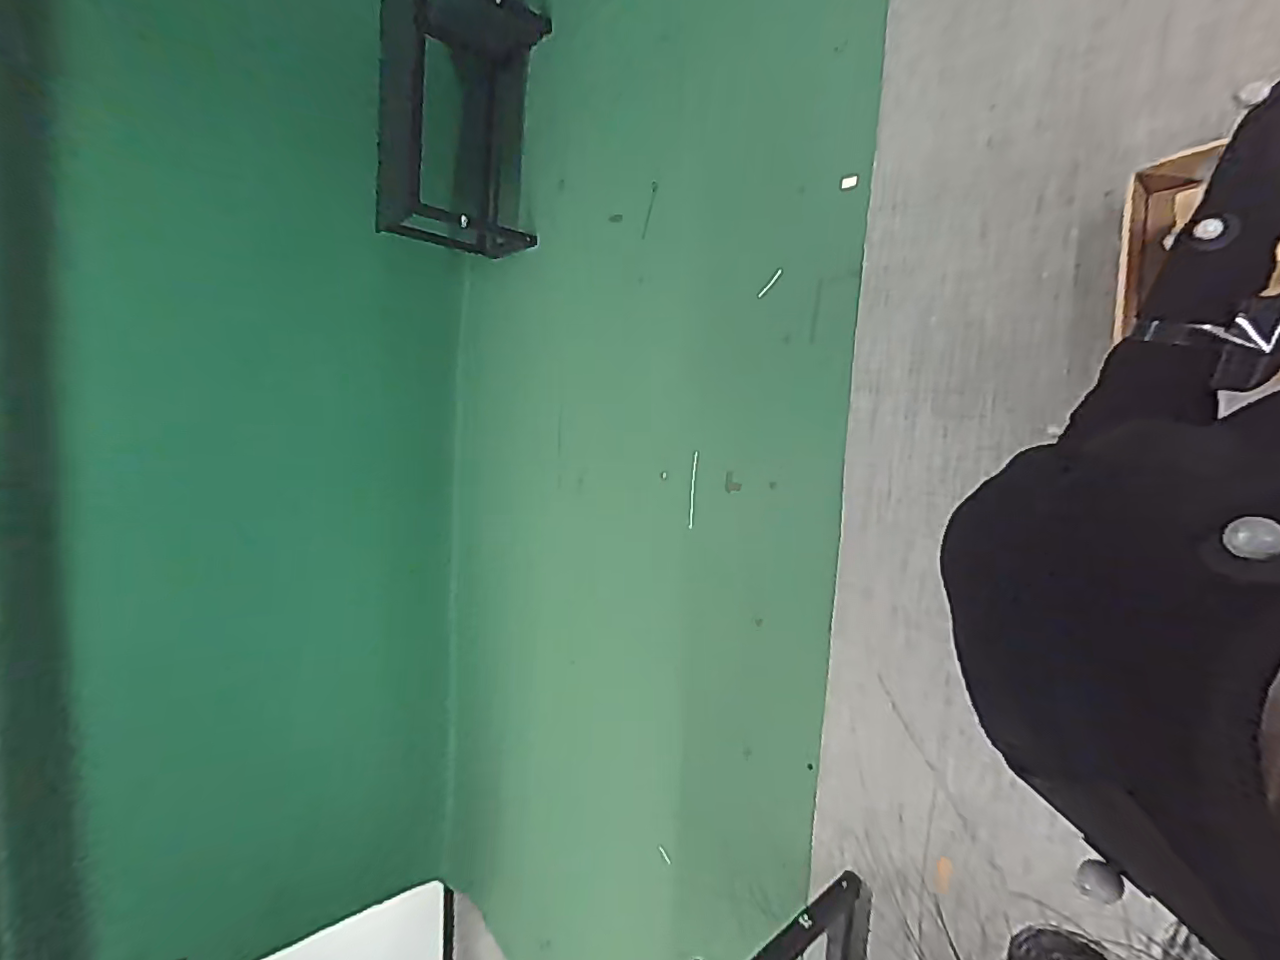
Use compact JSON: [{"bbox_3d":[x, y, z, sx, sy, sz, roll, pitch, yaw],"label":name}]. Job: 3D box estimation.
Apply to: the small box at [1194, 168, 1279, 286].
[{"bbox_3d":[1.090,-0.446,0.930,0.179,0.176,0.168,1,94,50],"label":"small box"}]
